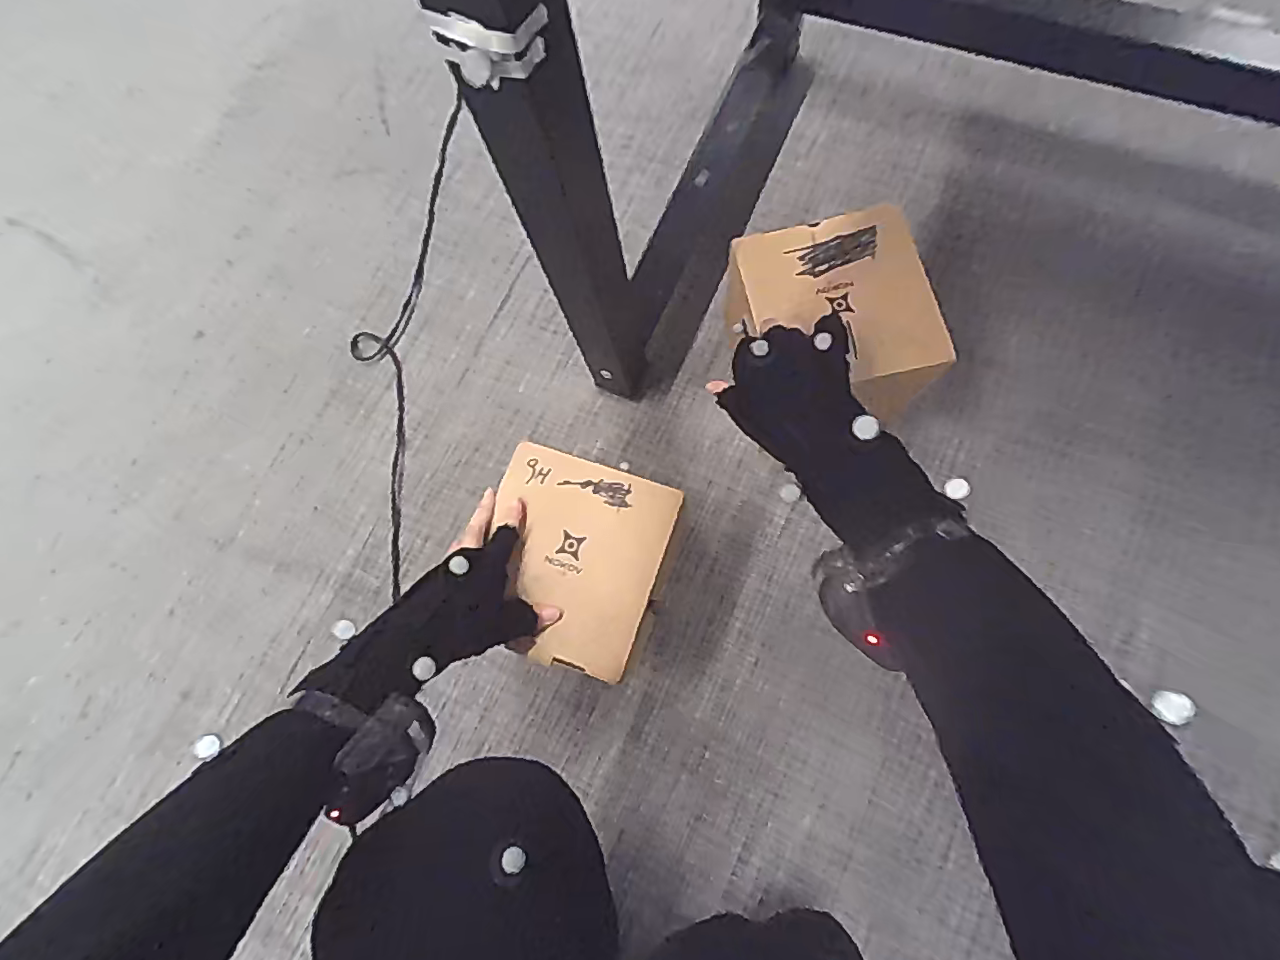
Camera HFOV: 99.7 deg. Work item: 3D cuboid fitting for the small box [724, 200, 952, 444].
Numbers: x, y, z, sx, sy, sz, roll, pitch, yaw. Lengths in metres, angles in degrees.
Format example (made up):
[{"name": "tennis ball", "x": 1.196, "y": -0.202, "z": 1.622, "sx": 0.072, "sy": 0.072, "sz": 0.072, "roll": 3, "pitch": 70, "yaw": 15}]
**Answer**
[{"name": "small box", "x": 0.193, "y": -0.158, "z": 0.590, "sx": 0.168, "sy": 0.176, "sz": 0.179, "roll": -14, "pitch": 76, "yaw": 2}]
